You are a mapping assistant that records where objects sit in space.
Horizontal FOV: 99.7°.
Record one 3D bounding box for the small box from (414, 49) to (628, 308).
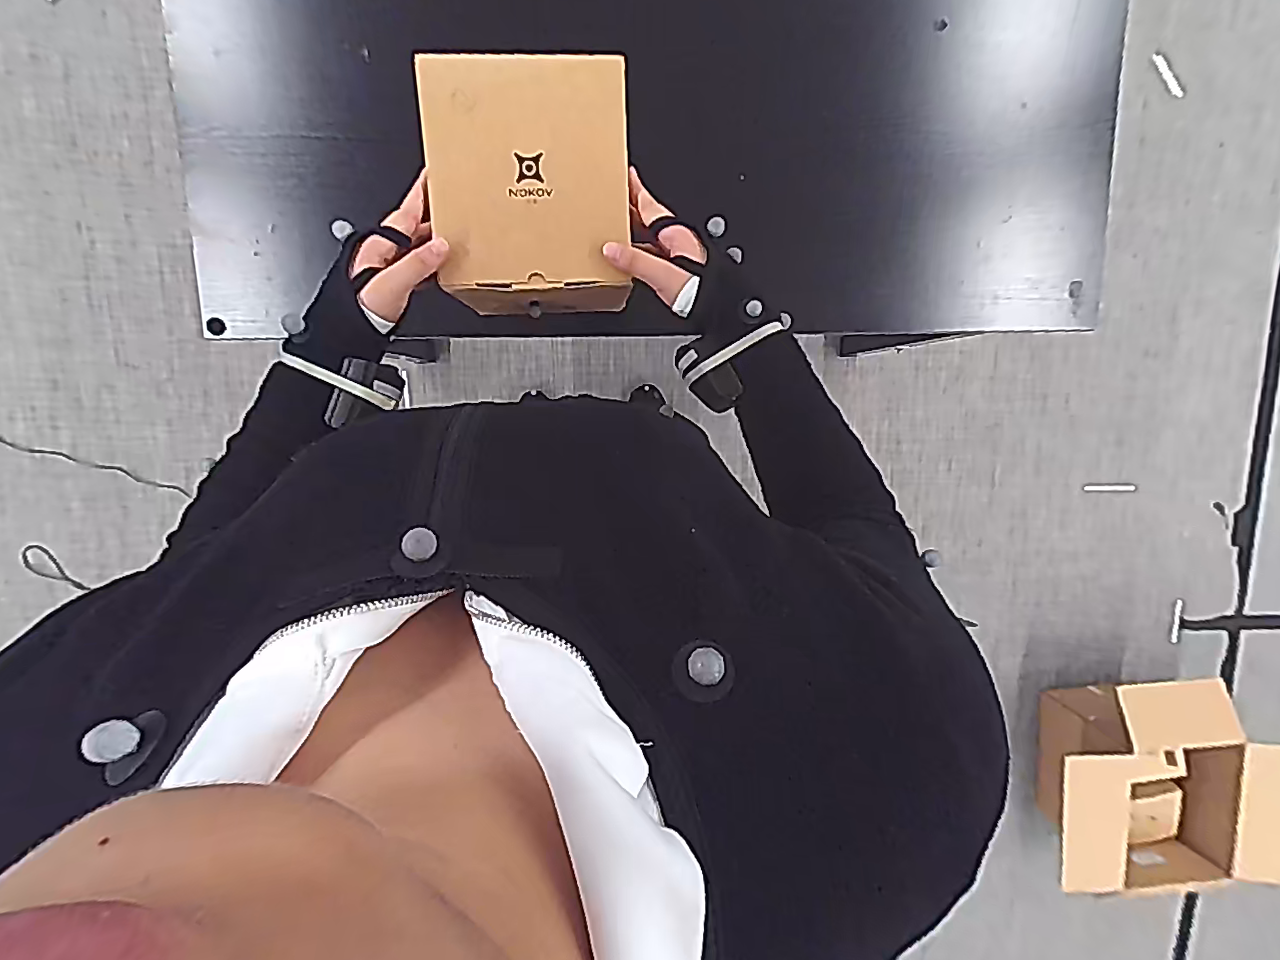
[{"bbox_3d":[-0.101,-0.268,0.520,0.168,0.176,0.179,-3,101,-4],"label":"small box"}]
